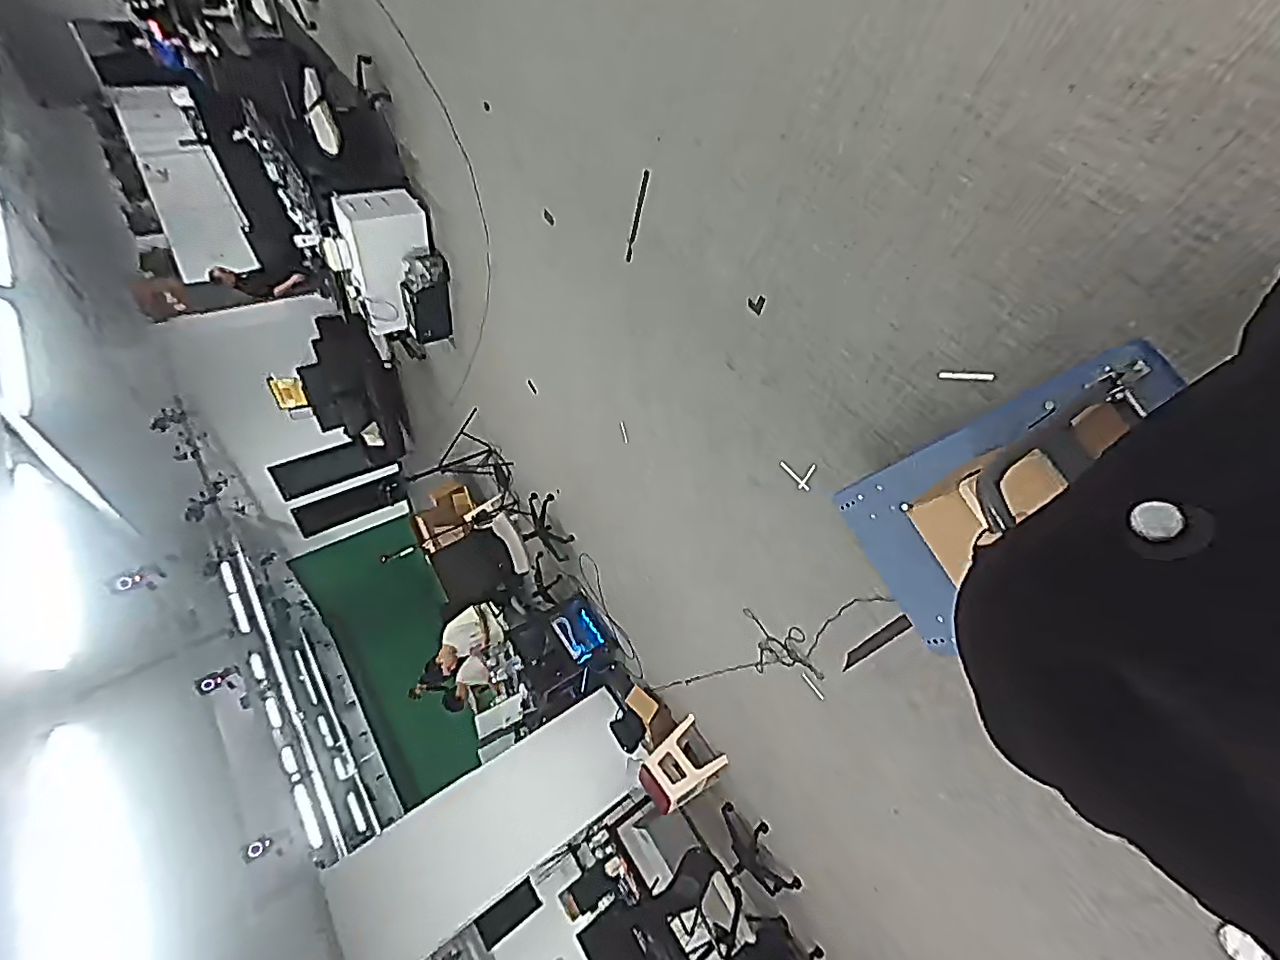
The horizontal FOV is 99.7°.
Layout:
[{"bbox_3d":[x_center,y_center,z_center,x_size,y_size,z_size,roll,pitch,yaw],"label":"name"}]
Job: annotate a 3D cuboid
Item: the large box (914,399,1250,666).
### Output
[{"bbox_3d":[0.874,0.112,1.102,0.408,0.320,0.320,60,151,10],"label":"large box"}]
